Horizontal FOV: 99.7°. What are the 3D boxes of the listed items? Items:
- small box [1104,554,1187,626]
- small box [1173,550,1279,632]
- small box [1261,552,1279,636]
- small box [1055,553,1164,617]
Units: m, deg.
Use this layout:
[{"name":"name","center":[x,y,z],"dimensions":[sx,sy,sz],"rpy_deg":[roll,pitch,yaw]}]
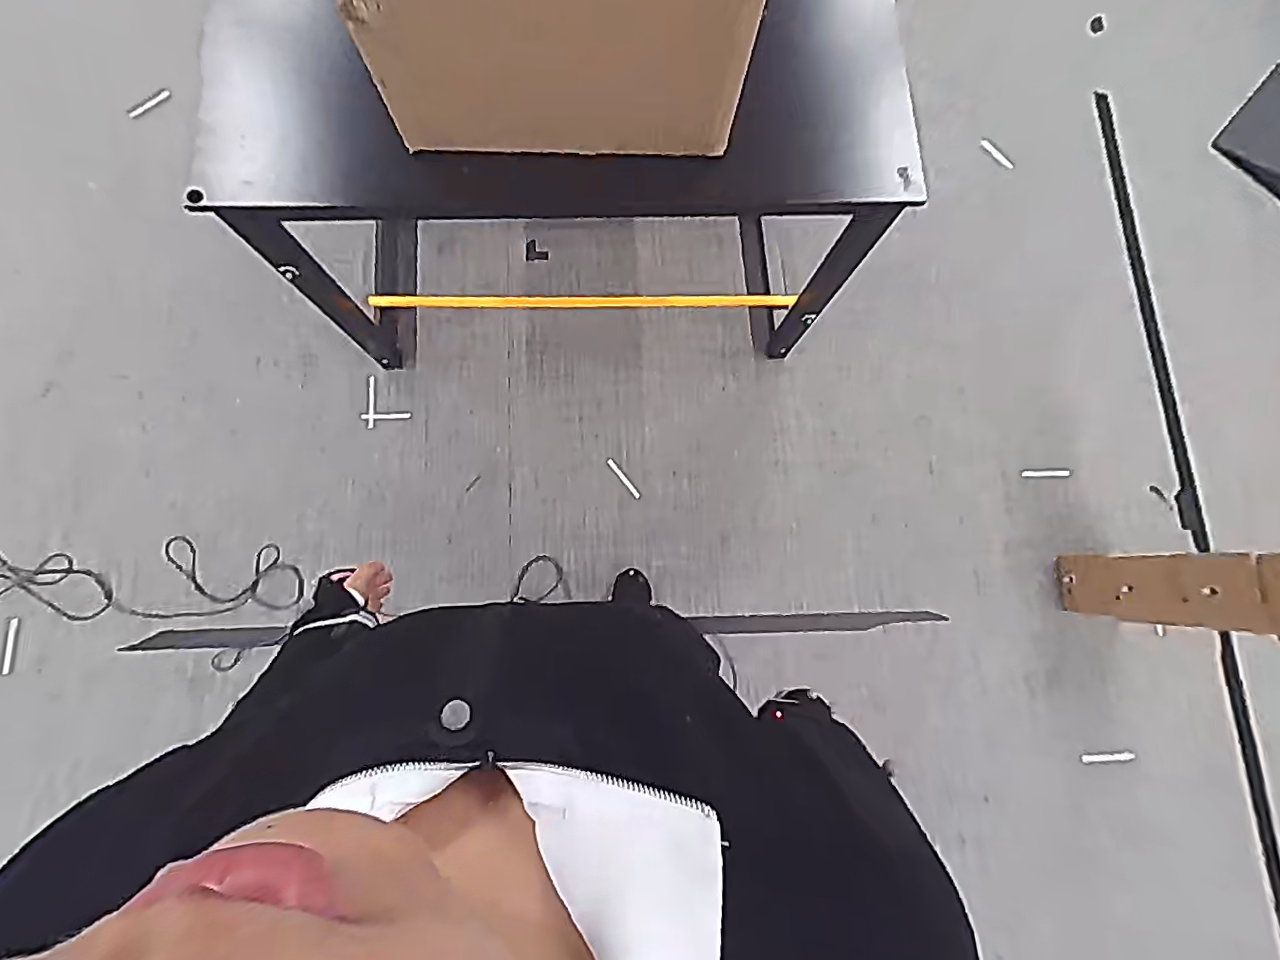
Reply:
[{"name":"small box","center":[1.310,0.267,1.334],"dimensions":[0.179,0.176,0.168],"rpy_deg":[-1,79,-3]},{"name":"small box","center":[1.317,0.239,1.173],"dimensions":[0.179,0.176,0.168],"rpy_deg":[-1,80,-3]},{"name":"small box","center":[1.337,0.218,1.010],"dimensions":[0.168,0.176,0.179],"rpy_deg":[-2,81,-4]},{"name":"small box","center":[1.309,0.288,1.498],"dimensions":[0.179,0.176,0.168],"rpy_deg":[-2,80,-2]}]
